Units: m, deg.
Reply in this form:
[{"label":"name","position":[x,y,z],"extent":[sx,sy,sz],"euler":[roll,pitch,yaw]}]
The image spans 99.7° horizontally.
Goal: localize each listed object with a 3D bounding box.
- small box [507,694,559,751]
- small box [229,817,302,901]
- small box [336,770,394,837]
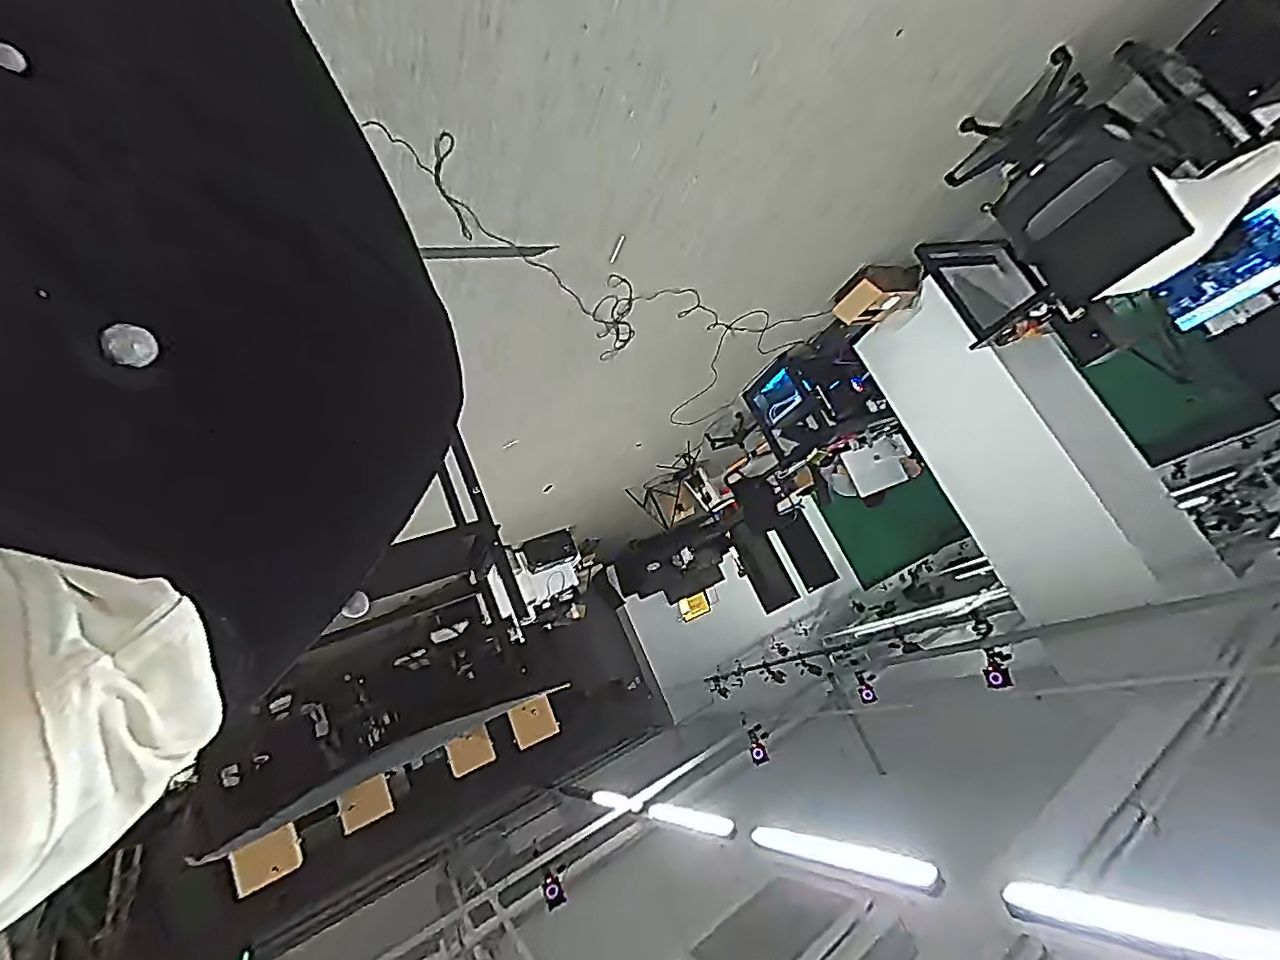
[{"label":"small box","position":[-0.454,1.014,2.274],"extent":[0.168,0.176,0.179],"euler":[-19,162,-21]},{"label":"small box","position":[-1.255,1.260,1.816],"extent":[0.168,0.176,0.179],"euler":[-16,163,-34]},{"label":"small box","position":[-1.103,1.287,2.163],"extent":[0.179,0.176,0.168],"euler":[-16,163,-32]}]
